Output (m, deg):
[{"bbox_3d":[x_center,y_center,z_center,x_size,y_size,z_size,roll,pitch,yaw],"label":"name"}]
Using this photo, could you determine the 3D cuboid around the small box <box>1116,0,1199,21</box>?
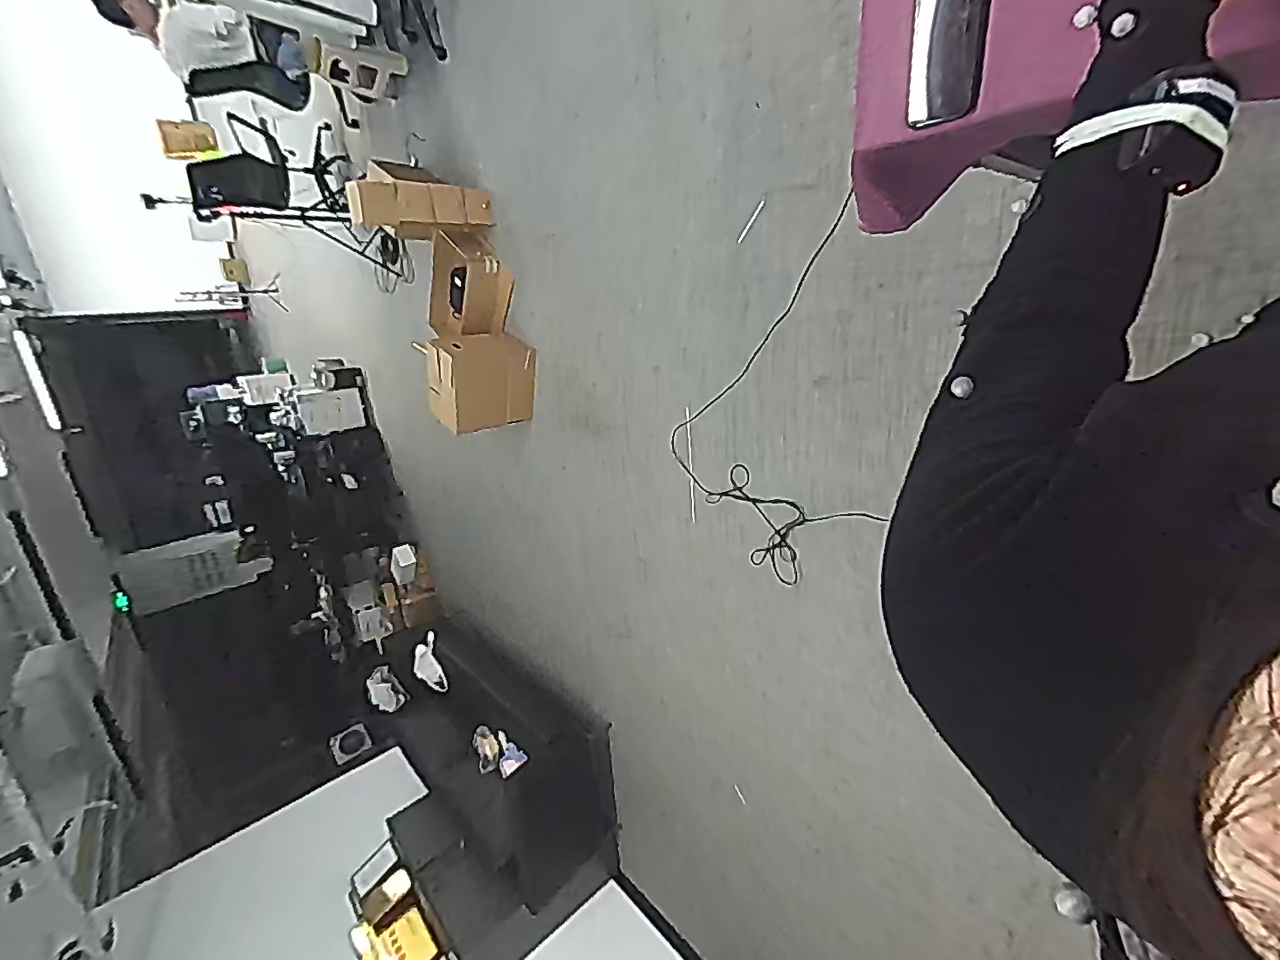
[{"bbox_3d":[0.470,-0.504,0.409,0.168,0.176,0.179,14,115,46],"label":"small box"}]
